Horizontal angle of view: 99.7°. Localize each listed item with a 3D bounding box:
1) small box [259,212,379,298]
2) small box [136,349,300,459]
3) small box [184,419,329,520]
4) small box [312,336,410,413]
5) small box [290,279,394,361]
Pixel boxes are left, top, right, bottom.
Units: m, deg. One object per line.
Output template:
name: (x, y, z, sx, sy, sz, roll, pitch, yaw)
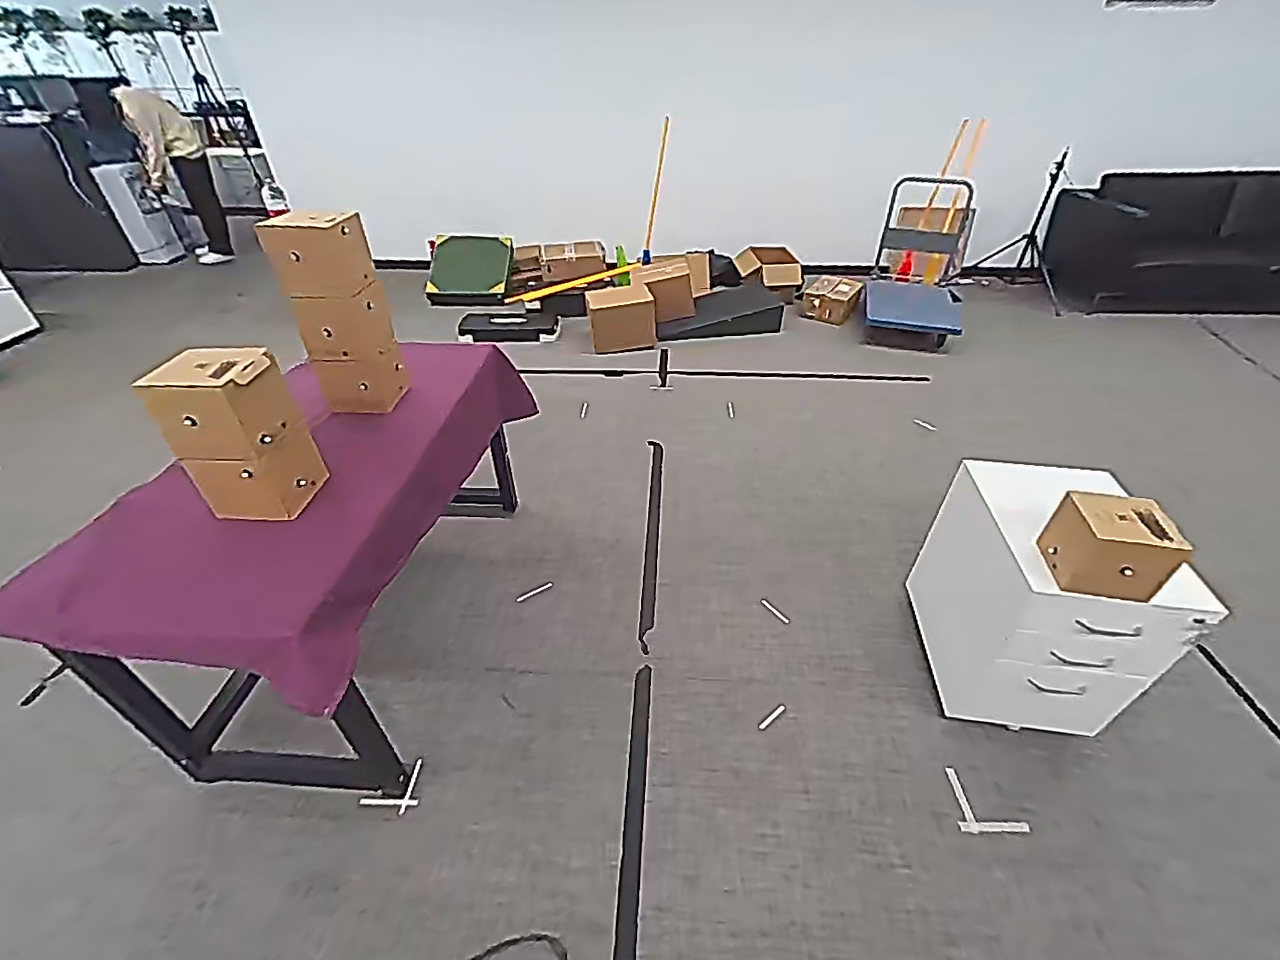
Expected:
small box: (-0.794, -0.564, 1.357, 0.179, 0.176, 0.168, 2, 38, 3)
small box: (-0.843, -0.154, 1.106, 0.179, 0.176, 0.168, 1, 38, 1)
small box: (-0.842, -0.026, 1.208, 0.179, 0.176, 0.168, 2, 38, 2)
small box: (-0.790, -0.304, 1.557, 0.179, 0.176, 0.168, 2, 38, 3)
small box: (-0.788, -0.432, 1.455, 0.168, 0.176, 0.179, 2, 38, 1)
